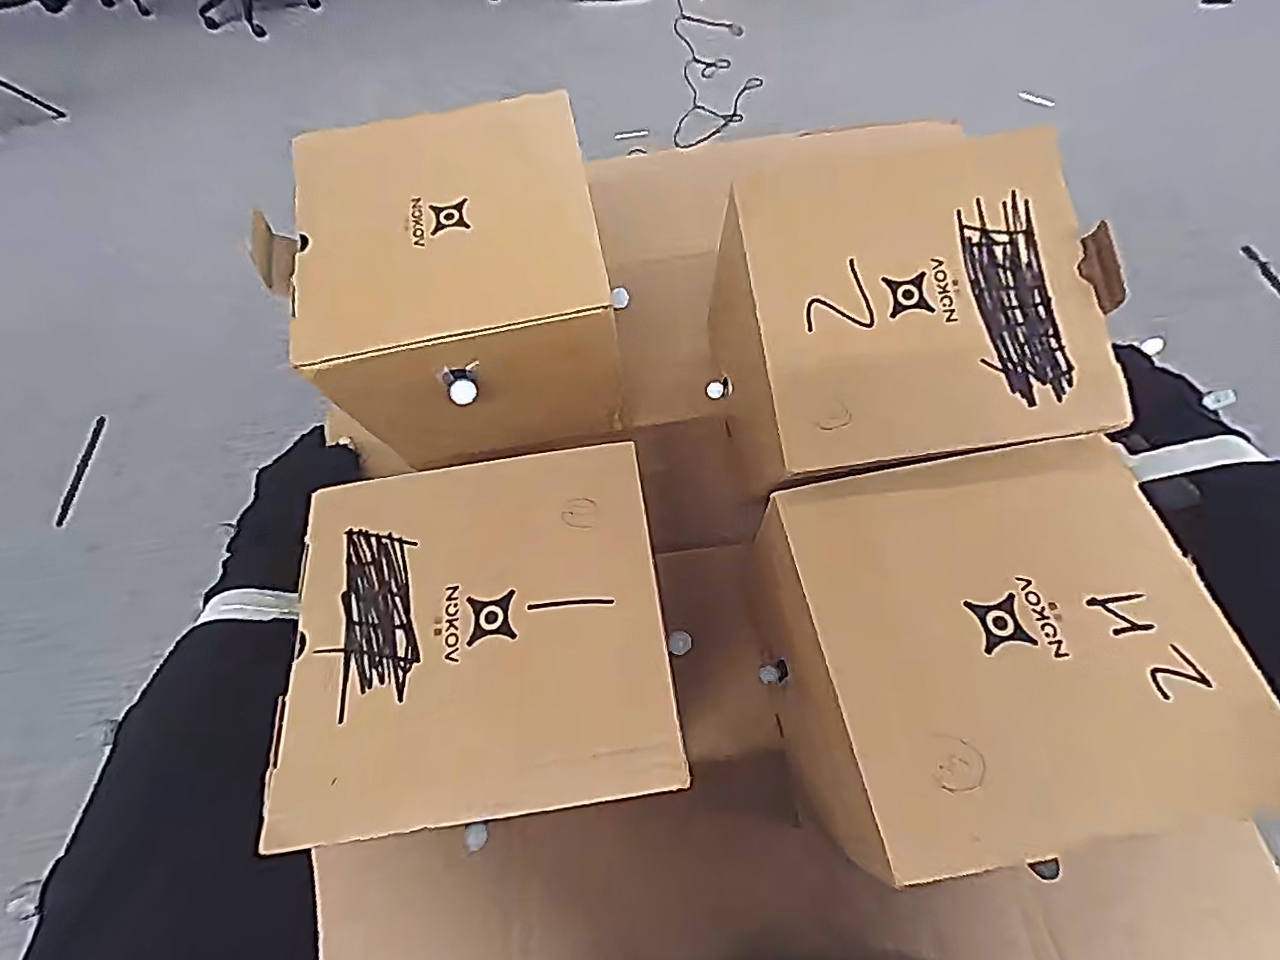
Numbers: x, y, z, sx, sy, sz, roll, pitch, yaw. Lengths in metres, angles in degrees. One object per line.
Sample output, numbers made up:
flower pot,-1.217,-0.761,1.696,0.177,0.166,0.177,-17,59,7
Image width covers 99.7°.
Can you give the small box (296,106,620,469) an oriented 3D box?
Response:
small box,-0.113,-0.122,0.396,0.179,0.176,0.168,-12,71,0
